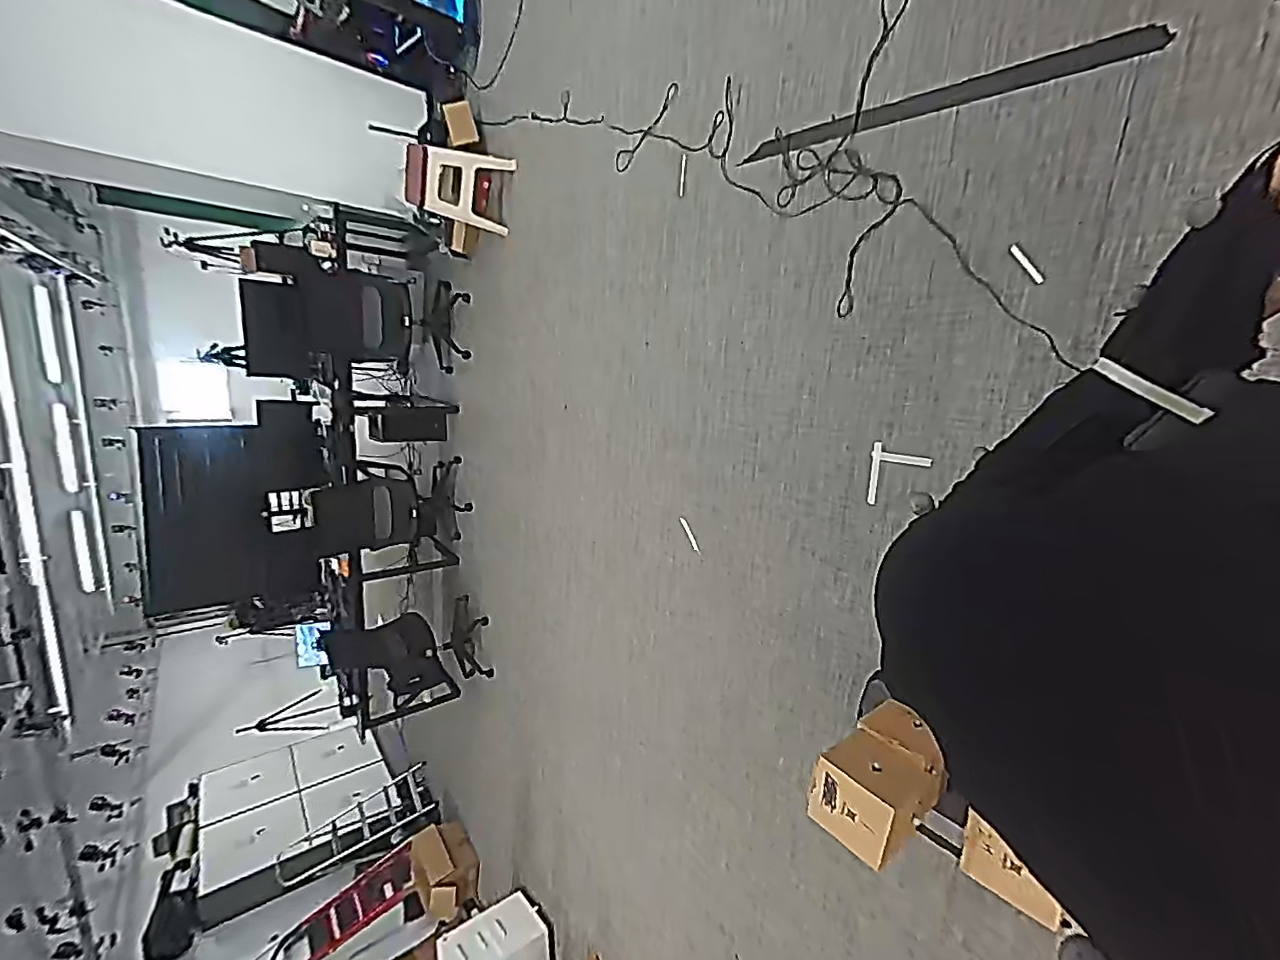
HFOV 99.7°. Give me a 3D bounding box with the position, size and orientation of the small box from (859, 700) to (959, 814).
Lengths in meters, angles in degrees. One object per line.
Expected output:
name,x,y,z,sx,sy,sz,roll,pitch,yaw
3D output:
small box,0.643,0.669,1.306,0.168,0.176,0.179,15,107,50

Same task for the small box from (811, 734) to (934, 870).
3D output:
small box,0.517,0.699,1.205,0.179,0.176,0.168,23,113,47
